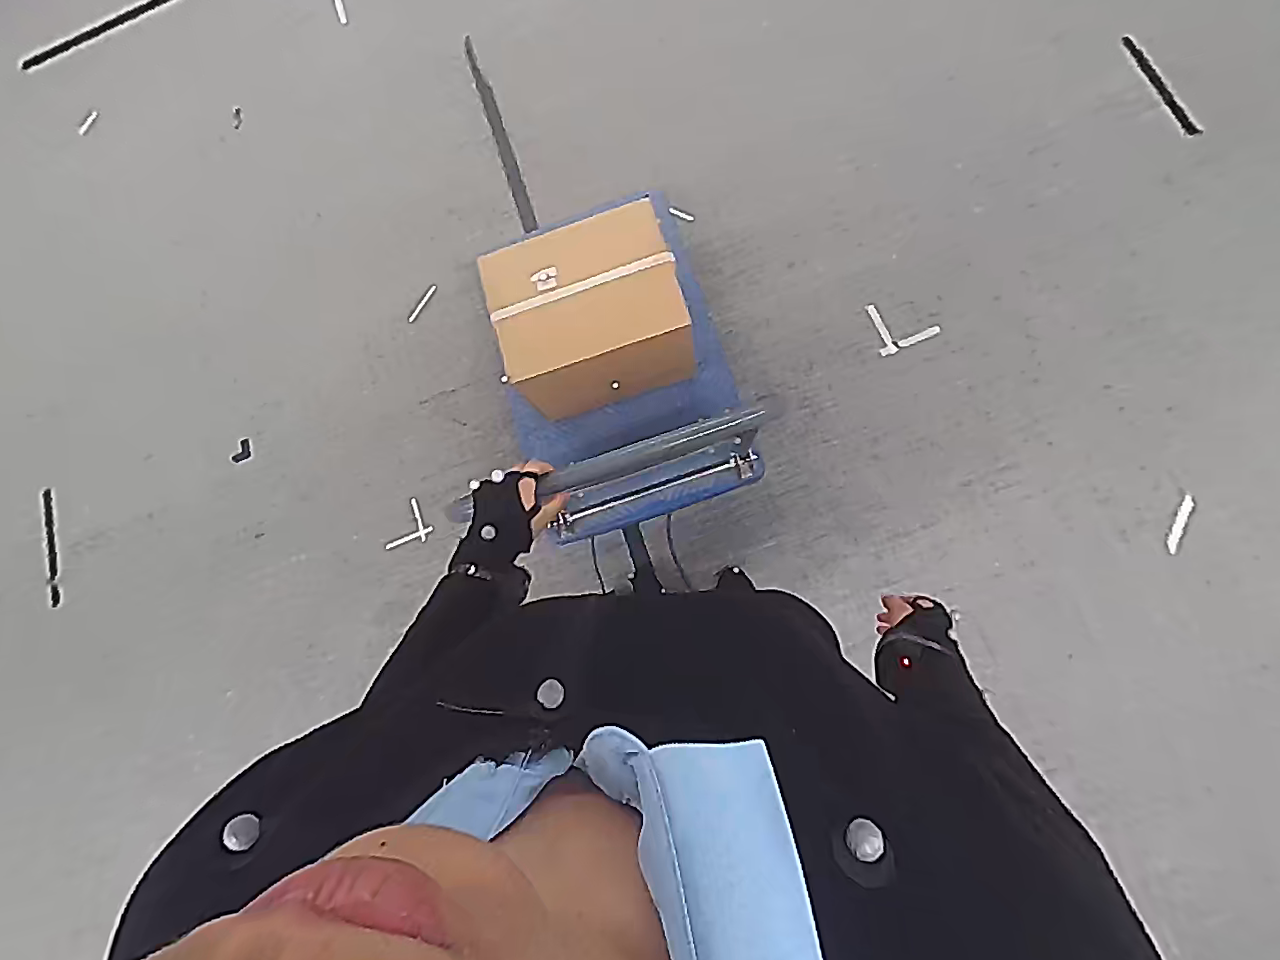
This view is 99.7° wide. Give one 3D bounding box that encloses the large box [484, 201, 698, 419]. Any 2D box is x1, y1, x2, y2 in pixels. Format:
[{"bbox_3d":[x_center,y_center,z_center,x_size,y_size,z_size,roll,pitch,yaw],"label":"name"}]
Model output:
[{"bbox_3d":[-0.100,-0.383,1.310,0.408,0.320,0.320,-18,77,6],"label":"large box"}]
